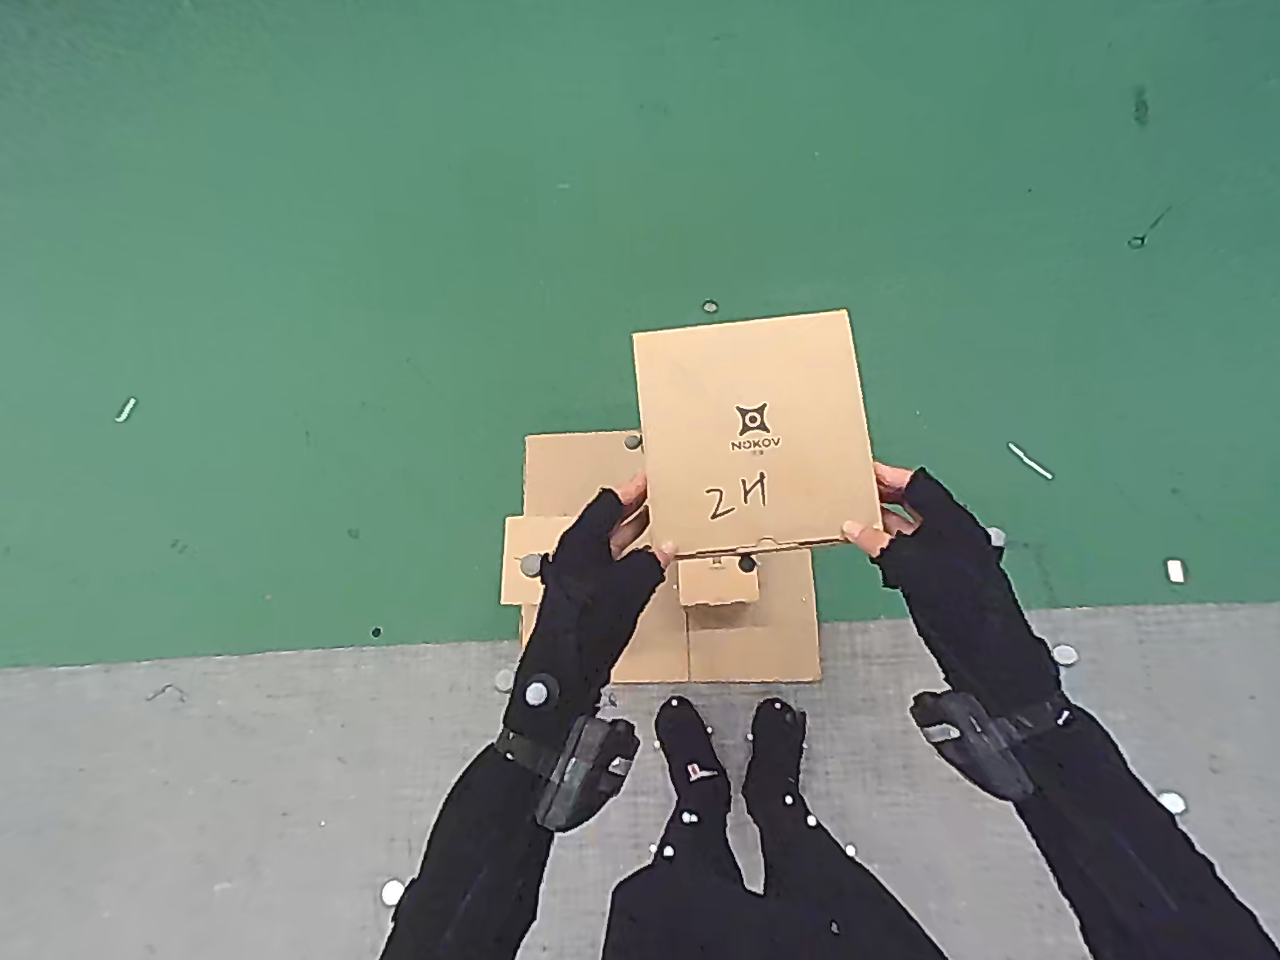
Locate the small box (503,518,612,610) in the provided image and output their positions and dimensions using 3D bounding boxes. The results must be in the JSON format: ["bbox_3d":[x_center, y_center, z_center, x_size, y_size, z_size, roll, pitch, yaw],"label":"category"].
[{"bbox_3d":[-0.154,0.167,1.074,0.179,0.176,0.168,0,78,8],"label":"small box"}]

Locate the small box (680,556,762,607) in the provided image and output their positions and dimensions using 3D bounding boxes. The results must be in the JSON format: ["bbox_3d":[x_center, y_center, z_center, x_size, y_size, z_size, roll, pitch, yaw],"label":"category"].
[{"bbox_3d":[0.173,0.190,1.208,0.168,0.176,0.179,-4,78,5],"label":"small box"}]

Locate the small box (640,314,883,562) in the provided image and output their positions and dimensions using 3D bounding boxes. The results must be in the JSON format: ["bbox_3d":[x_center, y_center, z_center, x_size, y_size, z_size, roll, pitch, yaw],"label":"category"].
[{"bbox_3d":[0.090,-0.022,0.478,0.168,0.176,0.179,-5,81,3],"label":"small box"}]
